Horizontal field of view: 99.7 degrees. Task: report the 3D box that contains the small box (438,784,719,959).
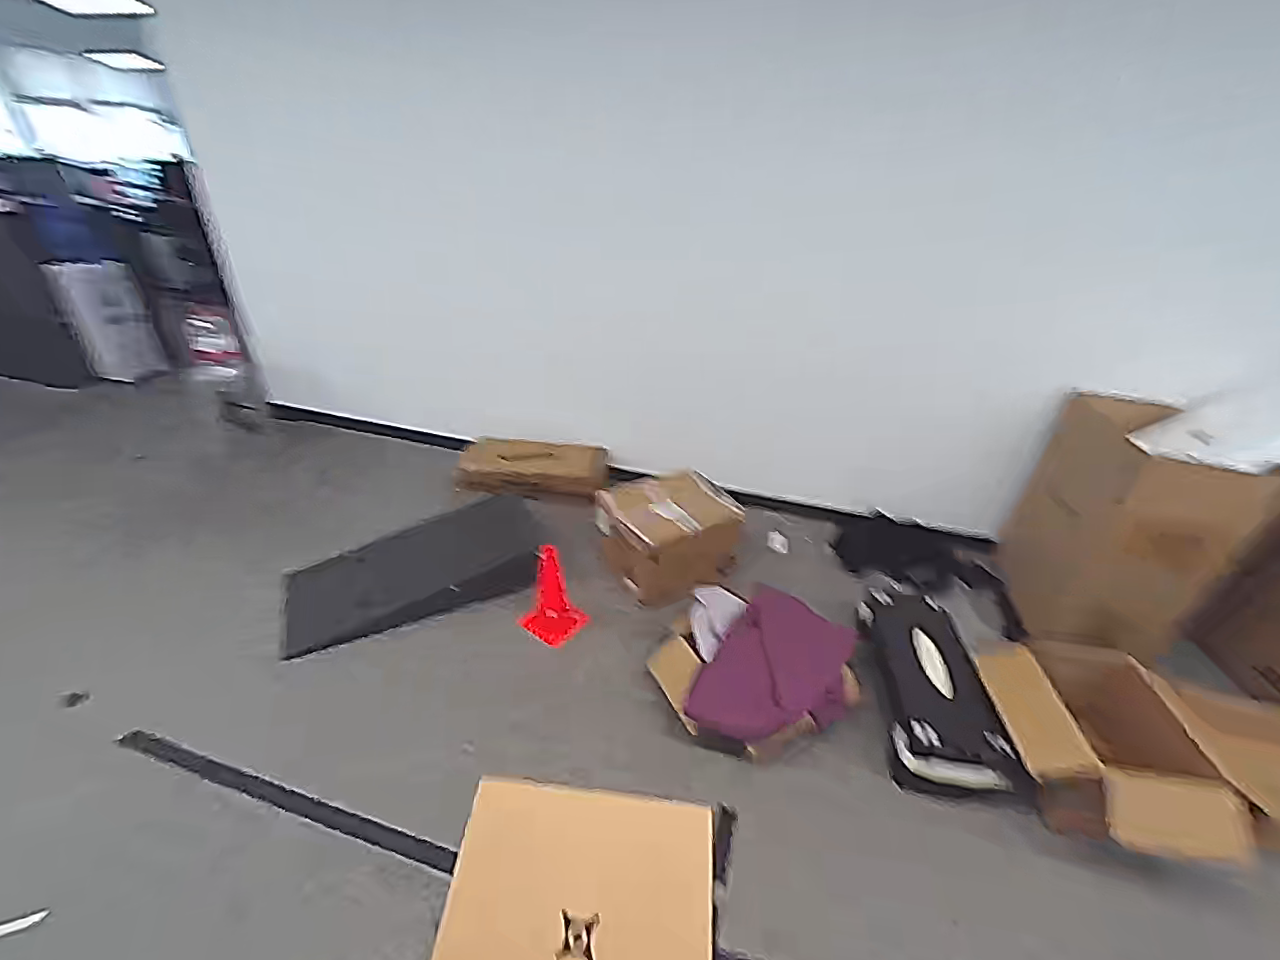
[{"bbox_3d":[-0.042,0.335,0.368,0.168,0.176,0.179,6,46,0],"label":"small box"}]
